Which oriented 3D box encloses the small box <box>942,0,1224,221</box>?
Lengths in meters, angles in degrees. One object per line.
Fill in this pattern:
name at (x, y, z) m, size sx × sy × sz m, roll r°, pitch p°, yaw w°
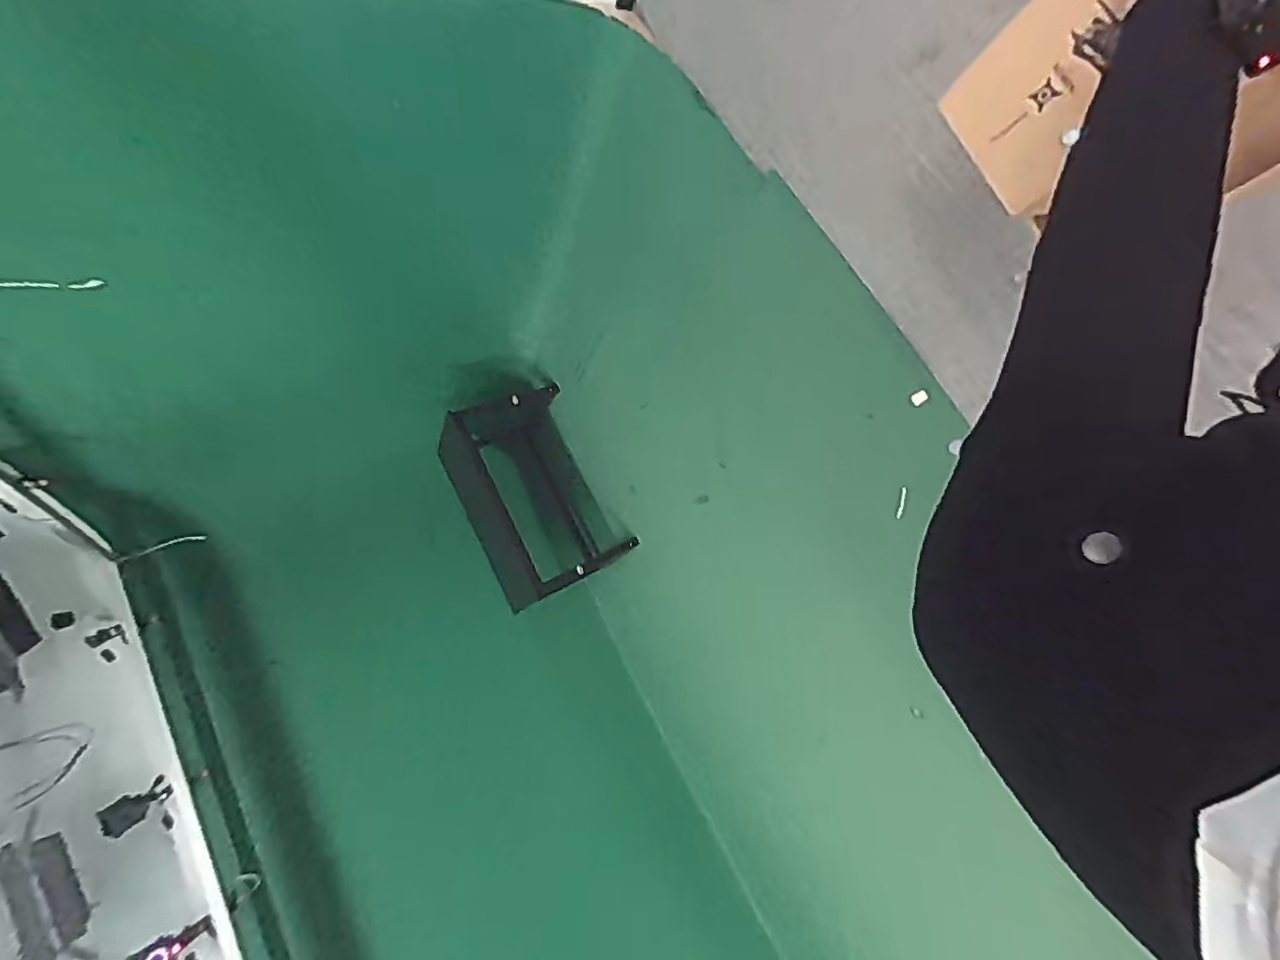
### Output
small box at (0.495, -0.426, 0.607) m, size 0.168 × 0.176 × 0.179 m, roll 63°, pitch 149°, yaw 8°
